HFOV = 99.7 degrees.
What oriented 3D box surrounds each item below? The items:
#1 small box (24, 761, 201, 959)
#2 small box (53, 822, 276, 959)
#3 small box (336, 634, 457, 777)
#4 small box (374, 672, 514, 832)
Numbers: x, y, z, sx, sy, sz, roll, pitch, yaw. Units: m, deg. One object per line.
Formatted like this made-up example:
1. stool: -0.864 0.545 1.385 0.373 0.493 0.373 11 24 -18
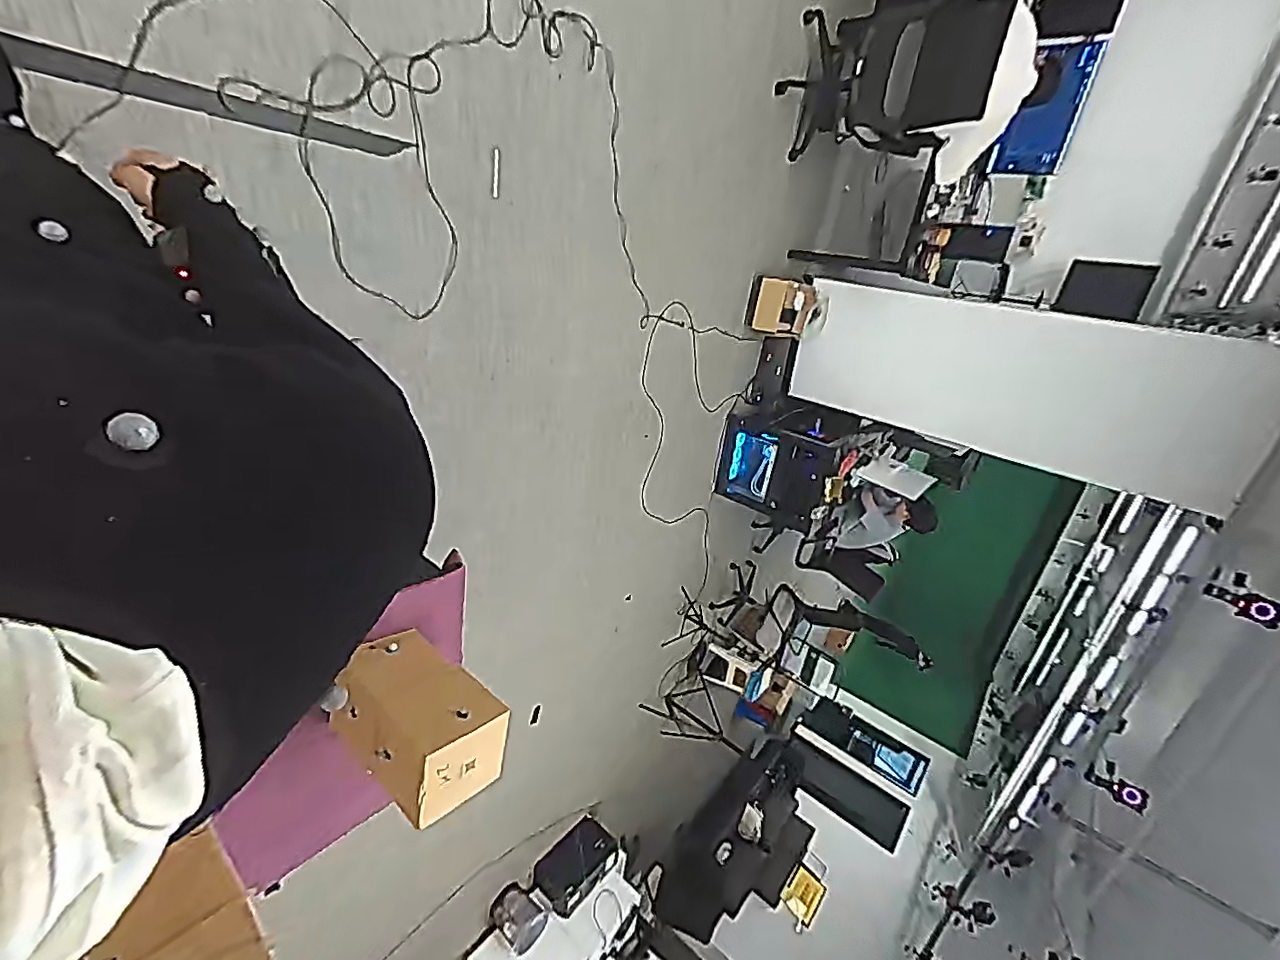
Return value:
1. small box: -0.767 0.573 0.807 0.179 0.176 0.168 -22 128 -46
2. small box: -0.630 0.616 0.727 0.179 0.176 0.168 -22 128 -46
3. small box: -0.496 0.447 1.101 0.168 0.176 0.179 -7 114 -52
4. small box: -0.366 0.491 1.010 0.179 0.176 0.168 -10 117 -51
